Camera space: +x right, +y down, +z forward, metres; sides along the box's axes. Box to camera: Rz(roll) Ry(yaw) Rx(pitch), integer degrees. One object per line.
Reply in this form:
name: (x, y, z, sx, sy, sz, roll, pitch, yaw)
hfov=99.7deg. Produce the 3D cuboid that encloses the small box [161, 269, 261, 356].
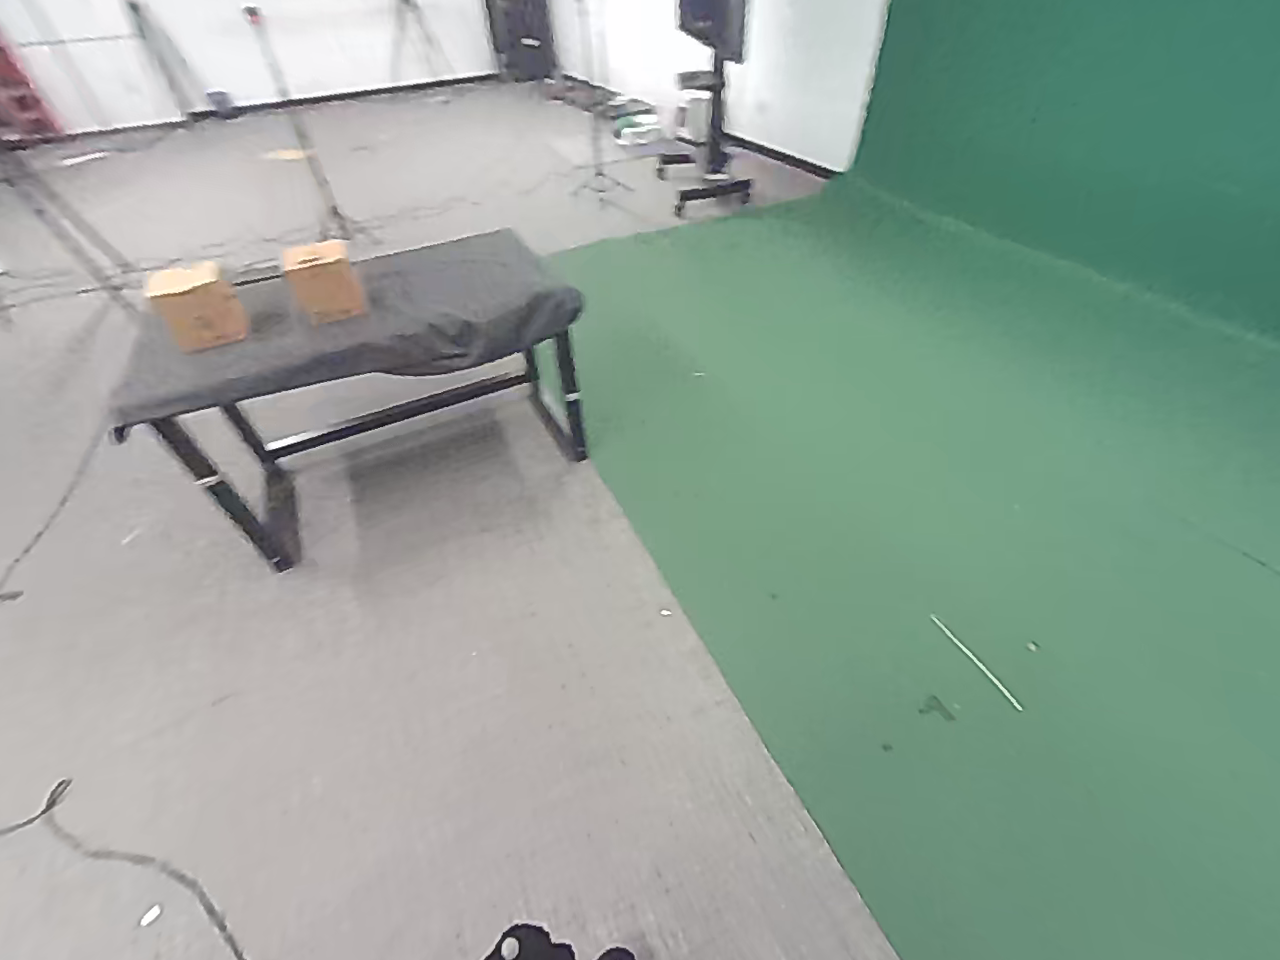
small box: (-1.217, -0.472, 1.545, 0.168, 0.176, 0.179, -22, 48, -18)

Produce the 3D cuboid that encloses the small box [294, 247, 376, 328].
small box: (-0.911, -0.573, 1.624, 0.168, 0.176, 0.179, -20, 45, -15)
